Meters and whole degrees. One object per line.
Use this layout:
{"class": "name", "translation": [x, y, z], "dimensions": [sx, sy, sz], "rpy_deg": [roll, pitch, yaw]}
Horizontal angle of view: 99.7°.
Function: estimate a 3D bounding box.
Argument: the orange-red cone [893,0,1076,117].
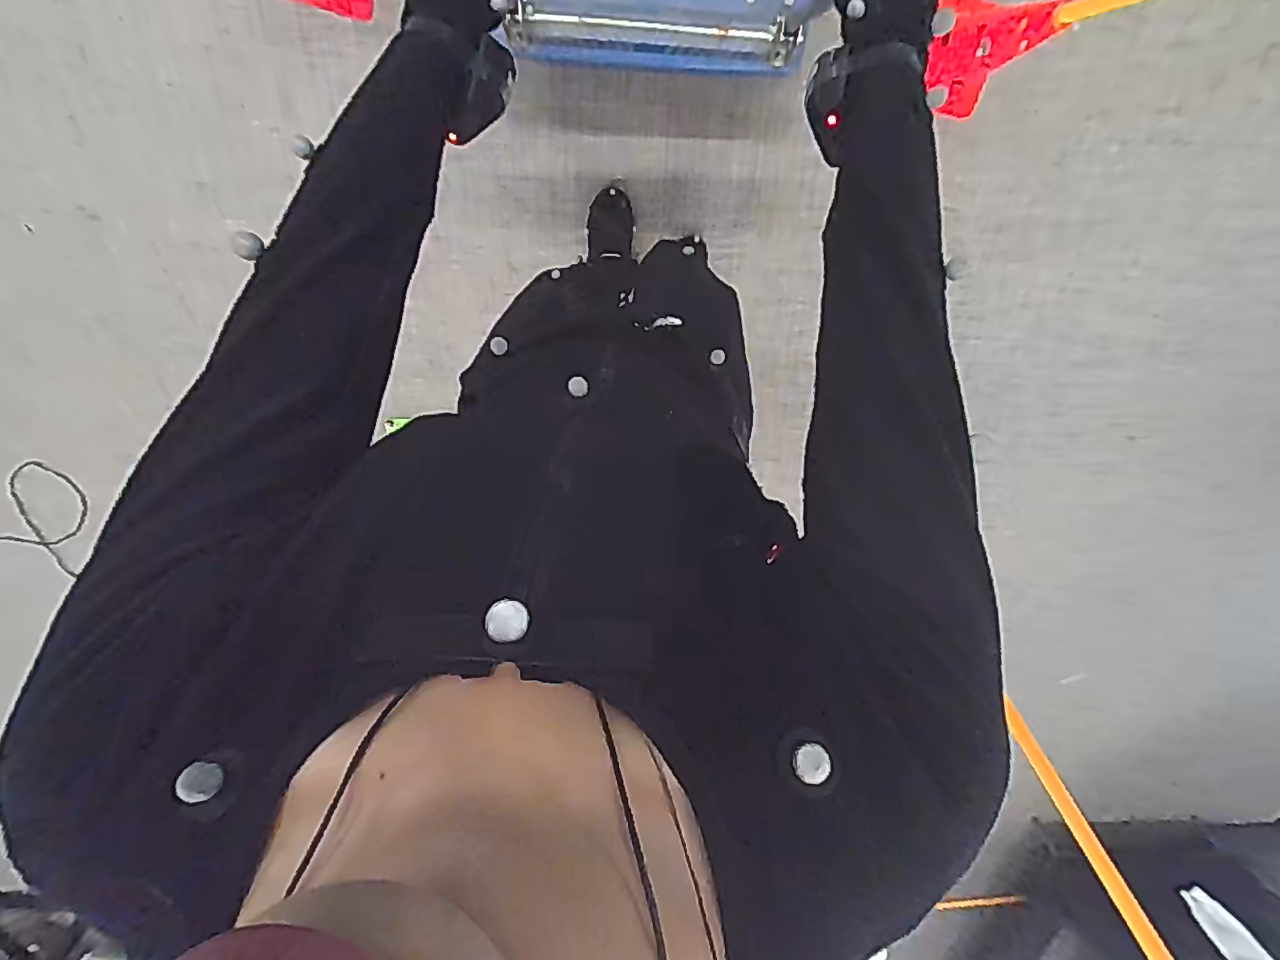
{"class": "orange-red cone", "translation": [0.662, -0.817, 0.996], "dimensions": [0.198, 0.360, 0.199], "rpy_deg": [11, 119, -7]}
